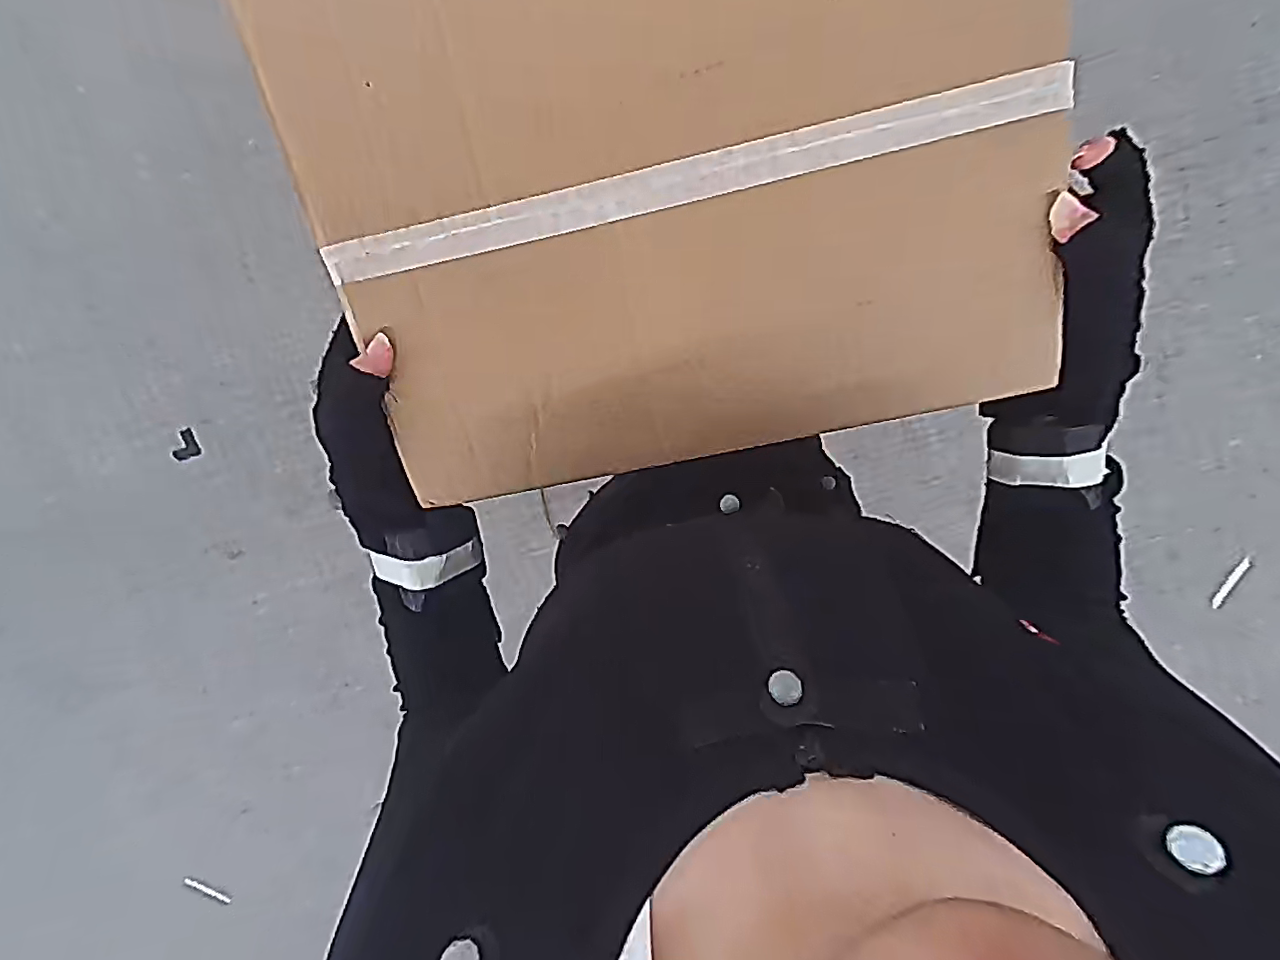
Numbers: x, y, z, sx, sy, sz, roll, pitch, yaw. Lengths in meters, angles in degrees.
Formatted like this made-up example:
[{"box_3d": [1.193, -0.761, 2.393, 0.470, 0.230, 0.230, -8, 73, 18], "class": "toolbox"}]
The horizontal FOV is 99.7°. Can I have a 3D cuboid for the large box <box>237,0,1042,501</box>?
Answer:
[{"box_3d": [0.020, -0.216, 0.443, 0.408, 0.320, 0.320, -11, 109, 5], "class": "large box"}]
